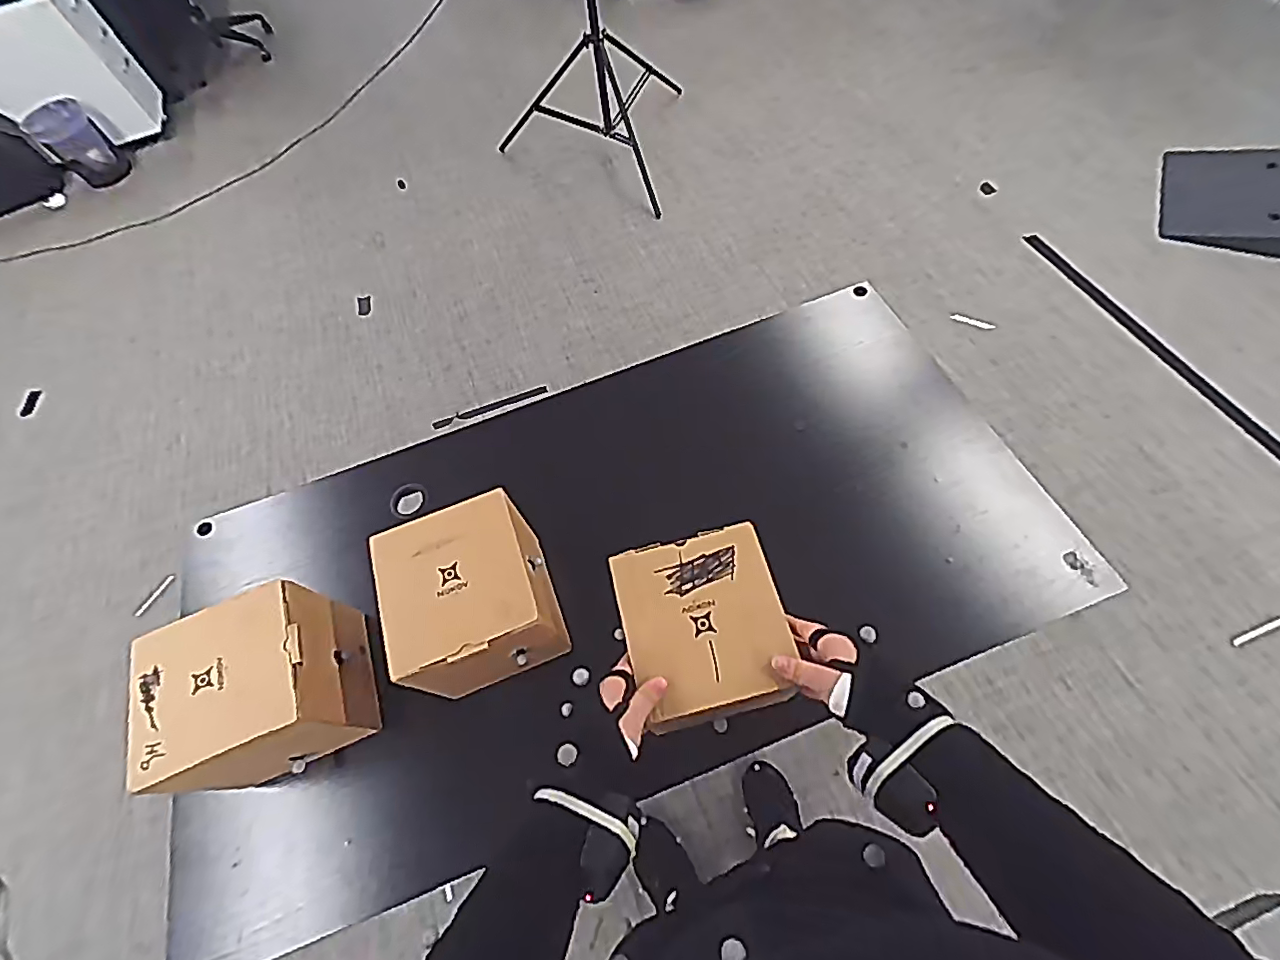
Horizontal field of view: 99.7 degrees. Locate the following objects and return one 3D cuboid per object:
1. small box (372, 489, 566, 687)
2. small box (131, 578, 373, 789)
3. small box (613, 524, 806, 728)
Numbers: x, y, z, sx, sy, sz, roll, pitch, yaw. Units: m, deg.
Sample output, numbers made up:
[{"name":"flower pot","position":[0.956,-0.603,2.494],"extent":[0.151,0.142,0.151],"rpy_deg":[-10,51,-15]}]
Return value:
[{"name":"small box","position":[-0.203,0.145,0.676],"extent":[0.168,0.176,0.179],"rpy_deg":[-21,62,-7]},{"name":"small box","position":[-0.444,0.244,0.647],"extent":[0.179,0.176,0.168],"rpy_deg":[-22,62,-7]},{"name":"small box","position":[0.071,0.176,0.629],"extent":[0.168,0.176,0.179],"rpy_deg":[-14,63,-1]}]
